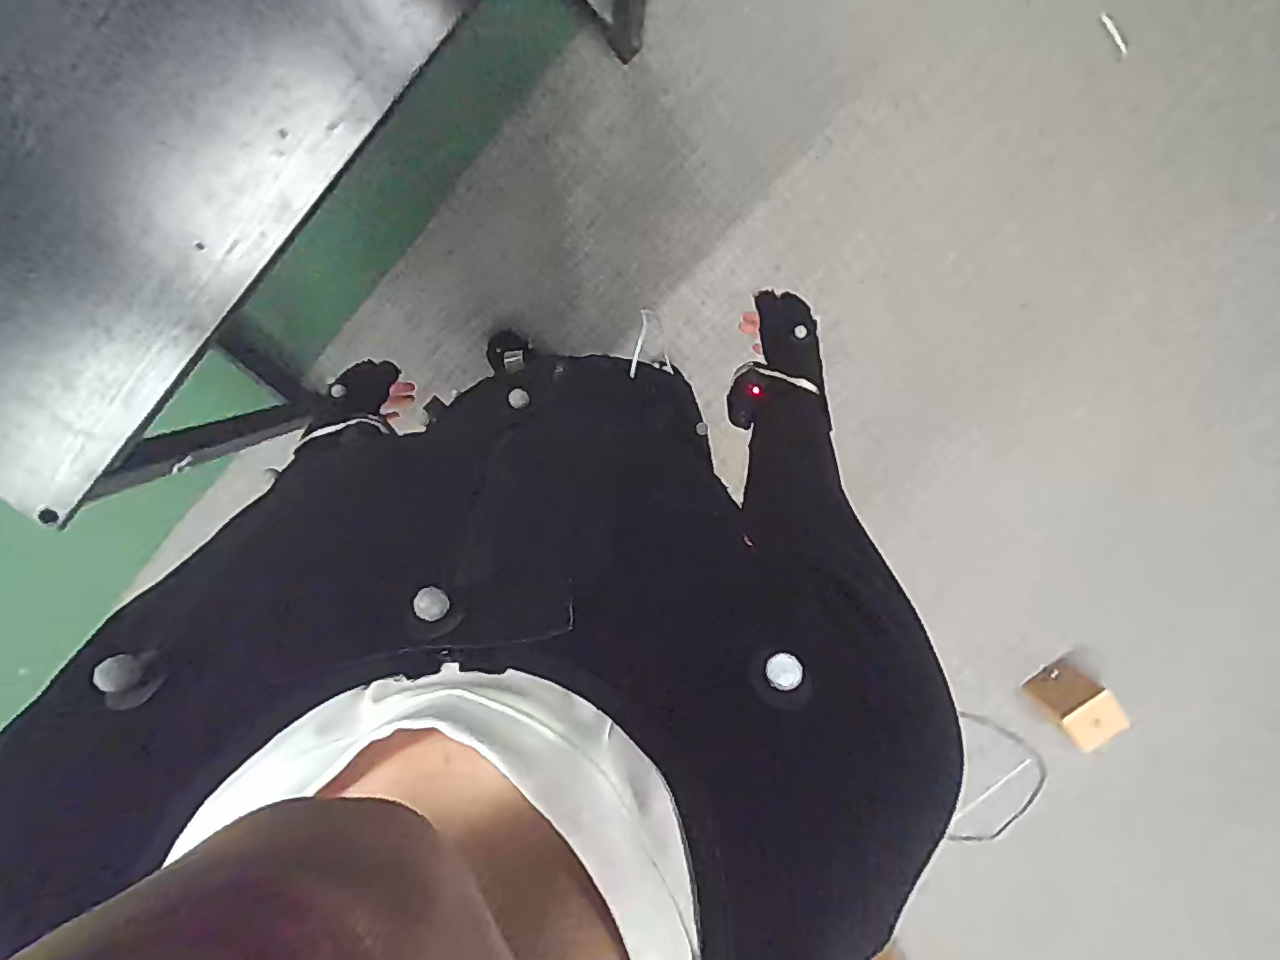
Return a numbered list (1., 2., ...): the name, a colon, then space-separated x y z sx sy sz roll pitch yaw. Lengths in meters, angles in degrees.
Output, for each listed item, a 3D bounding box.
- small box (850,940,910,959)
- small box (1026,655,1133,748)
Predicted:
1. small box: 0.735 1.501 1.572 0.168 0.176 0.179 -43 104 9
2. small box: 1.383 0.693 1.711 0.168 0.176 0.179 -39 105 7
